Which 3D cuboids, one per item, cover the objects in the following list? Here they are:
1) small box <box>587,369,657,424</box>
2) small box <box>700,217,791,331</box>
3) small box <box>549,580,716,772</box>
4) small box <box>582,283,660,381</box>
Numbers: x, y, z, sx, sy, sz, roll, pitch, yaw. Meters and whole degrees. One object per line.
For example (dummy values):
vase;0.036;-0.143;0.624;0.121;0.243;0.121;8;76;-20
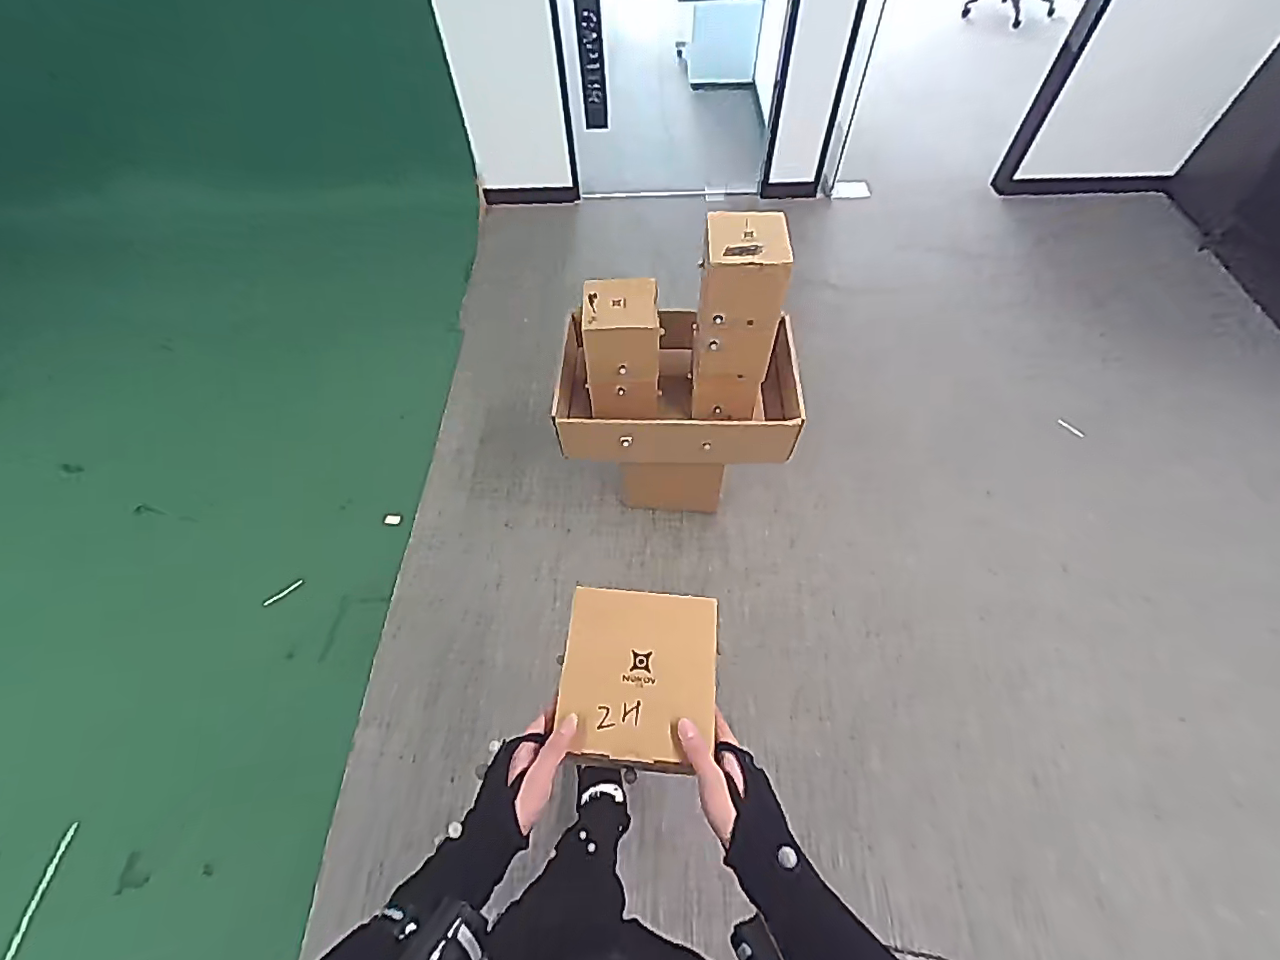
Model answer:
small box;-0.043;-0.265;1.444;0.179;0.176;0.168;1;57;0
small box;0.218;-0.440;1.162;0.168;0.176;0.179;2;56;1
small box;-0.003;0.239;0.650;0.168;0.176;0.179;5;59;3
small box;-0.044;-0.352;1.305;0.179;0.176;0.168;-1;58;0
